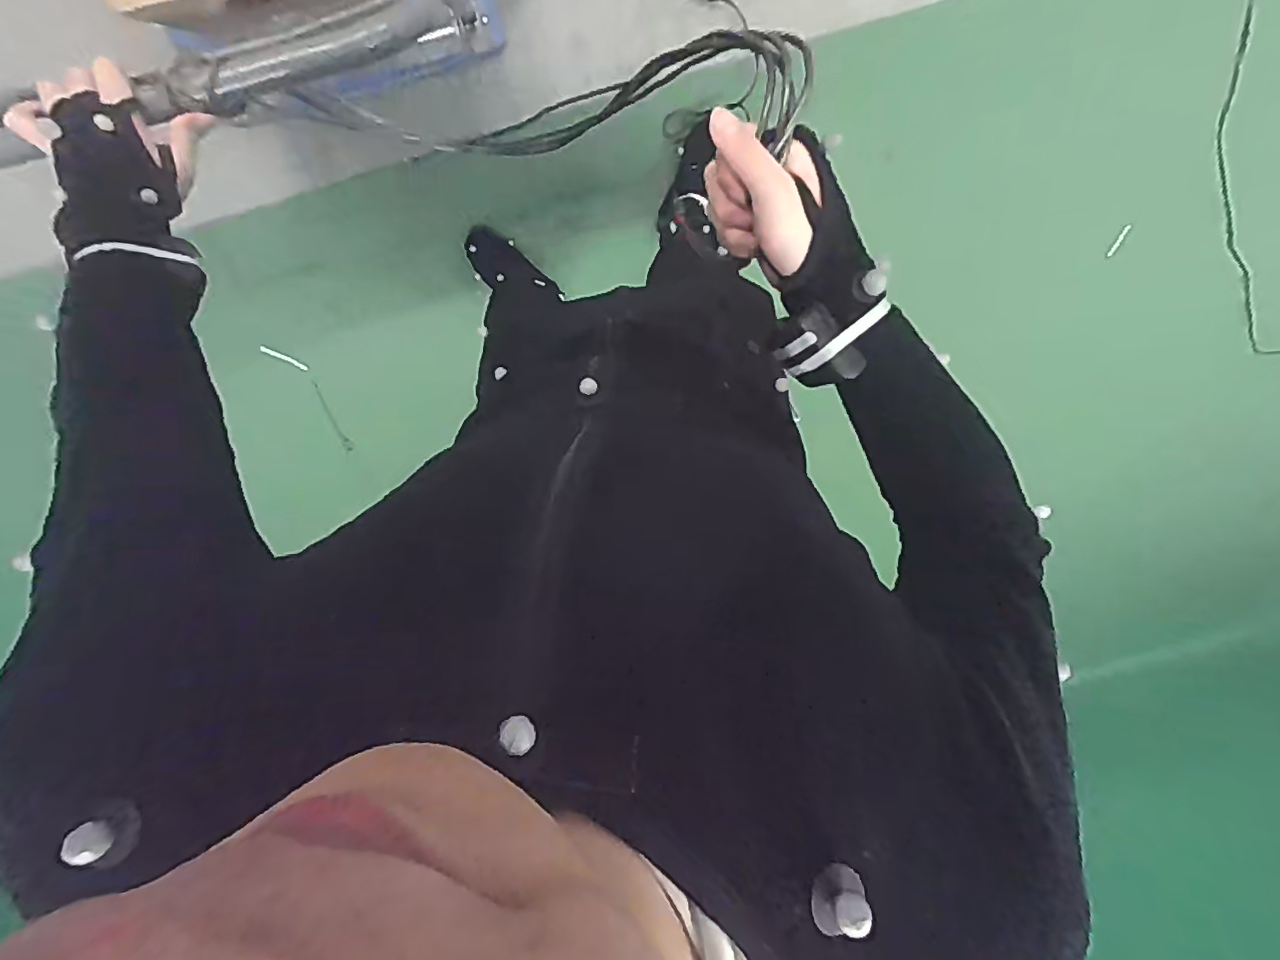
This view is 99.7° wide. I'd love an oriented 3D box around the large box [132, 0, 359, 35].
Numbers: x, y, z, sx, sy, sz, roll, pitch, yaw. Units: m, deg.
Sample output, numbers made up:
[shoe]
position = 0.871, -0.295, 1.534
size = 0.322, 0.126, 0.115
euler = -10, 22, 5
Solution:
[large box]
position = -0.592, -0.909, 0.732
size = 0.320, 0.320, 0.408
euler = -14, 125, 1
